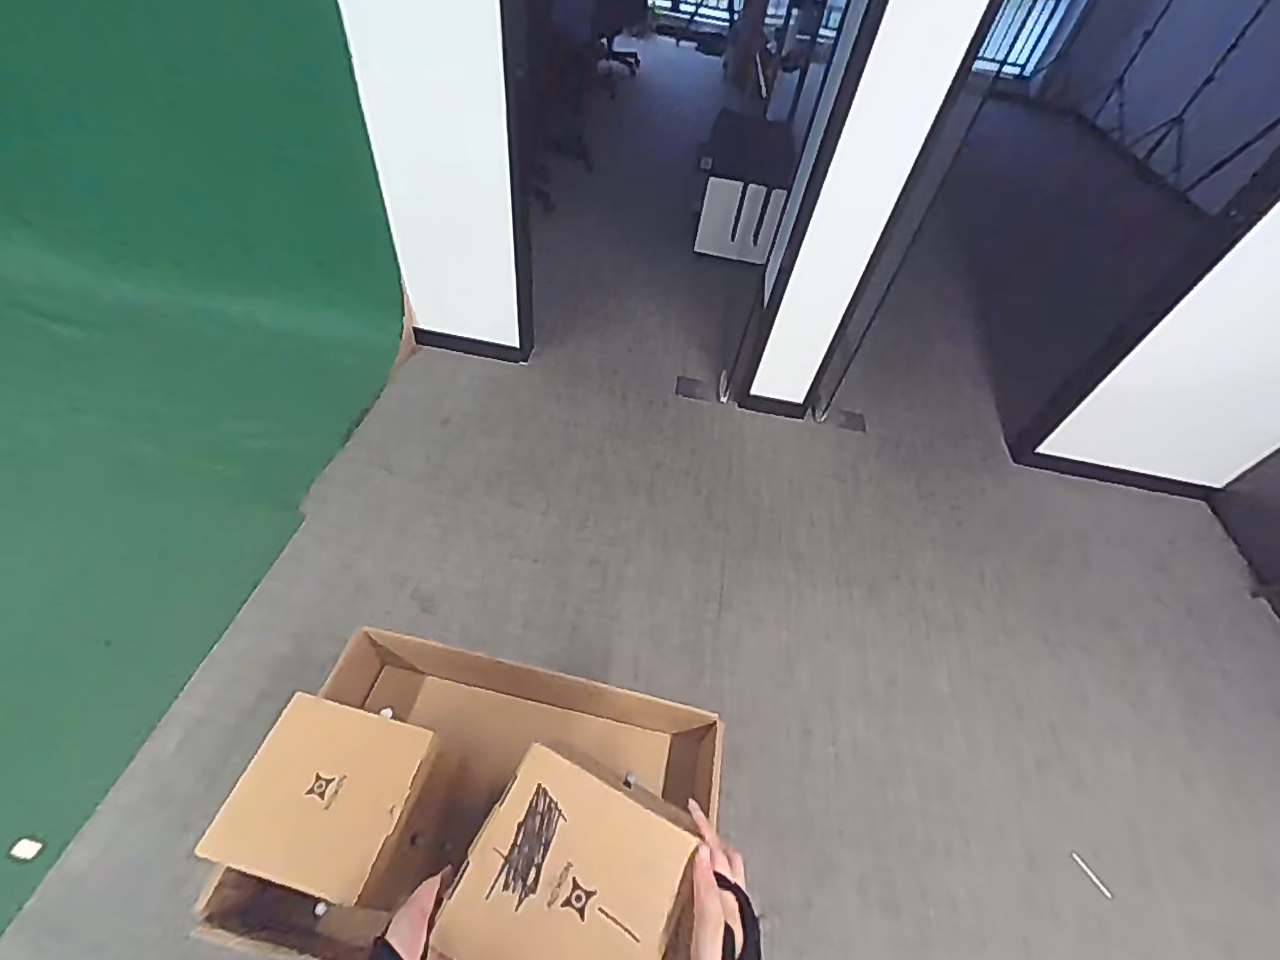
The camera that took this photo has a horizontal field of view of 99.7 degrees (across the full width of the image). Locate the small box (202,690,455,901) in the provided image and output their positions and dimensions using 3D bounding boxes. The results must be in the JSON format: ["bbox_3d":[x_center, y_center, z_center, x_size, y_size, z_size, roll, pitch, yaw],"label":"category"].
[{"bbox_3d":[-0.345,0.378,0.642,0.179,0.176,0.168,15,50,3],"label":"small box"}]

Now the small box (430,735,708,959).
[{"bbox_3d":[-0.056,0.366,0.515,0.179,0.176,0.168,26,69,11],"label":"small box"}]
